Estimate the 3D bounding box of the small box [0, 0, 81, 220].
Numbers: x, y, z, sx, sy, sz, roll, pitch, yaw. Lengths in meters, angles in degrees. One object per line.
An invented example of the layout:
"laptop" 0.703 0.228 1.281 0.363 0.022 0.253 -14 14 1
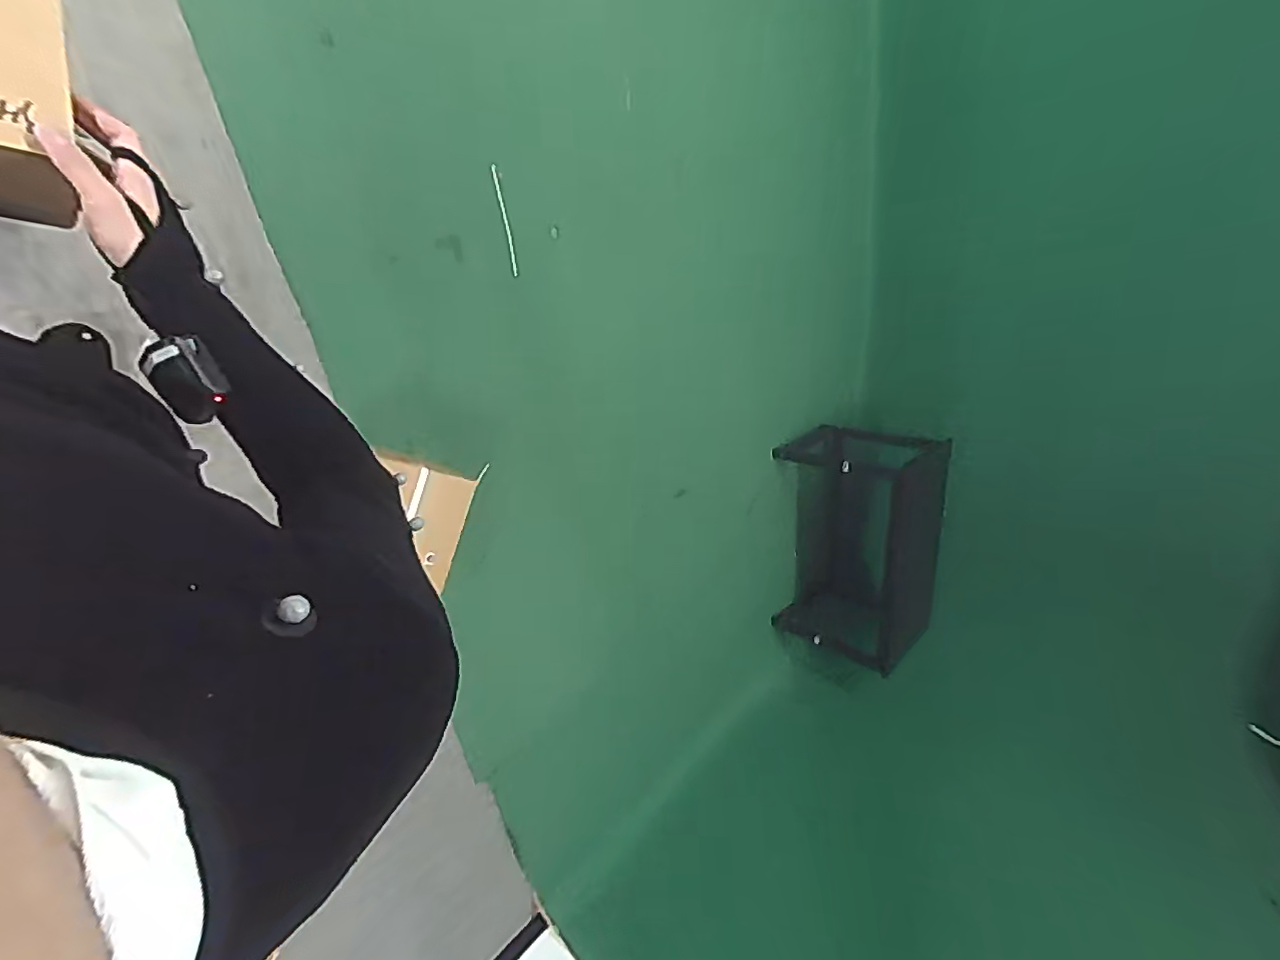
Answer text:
"small box" -0.569 -0.338 0.427 0.168 0.176 0.179 -6 96 -46
